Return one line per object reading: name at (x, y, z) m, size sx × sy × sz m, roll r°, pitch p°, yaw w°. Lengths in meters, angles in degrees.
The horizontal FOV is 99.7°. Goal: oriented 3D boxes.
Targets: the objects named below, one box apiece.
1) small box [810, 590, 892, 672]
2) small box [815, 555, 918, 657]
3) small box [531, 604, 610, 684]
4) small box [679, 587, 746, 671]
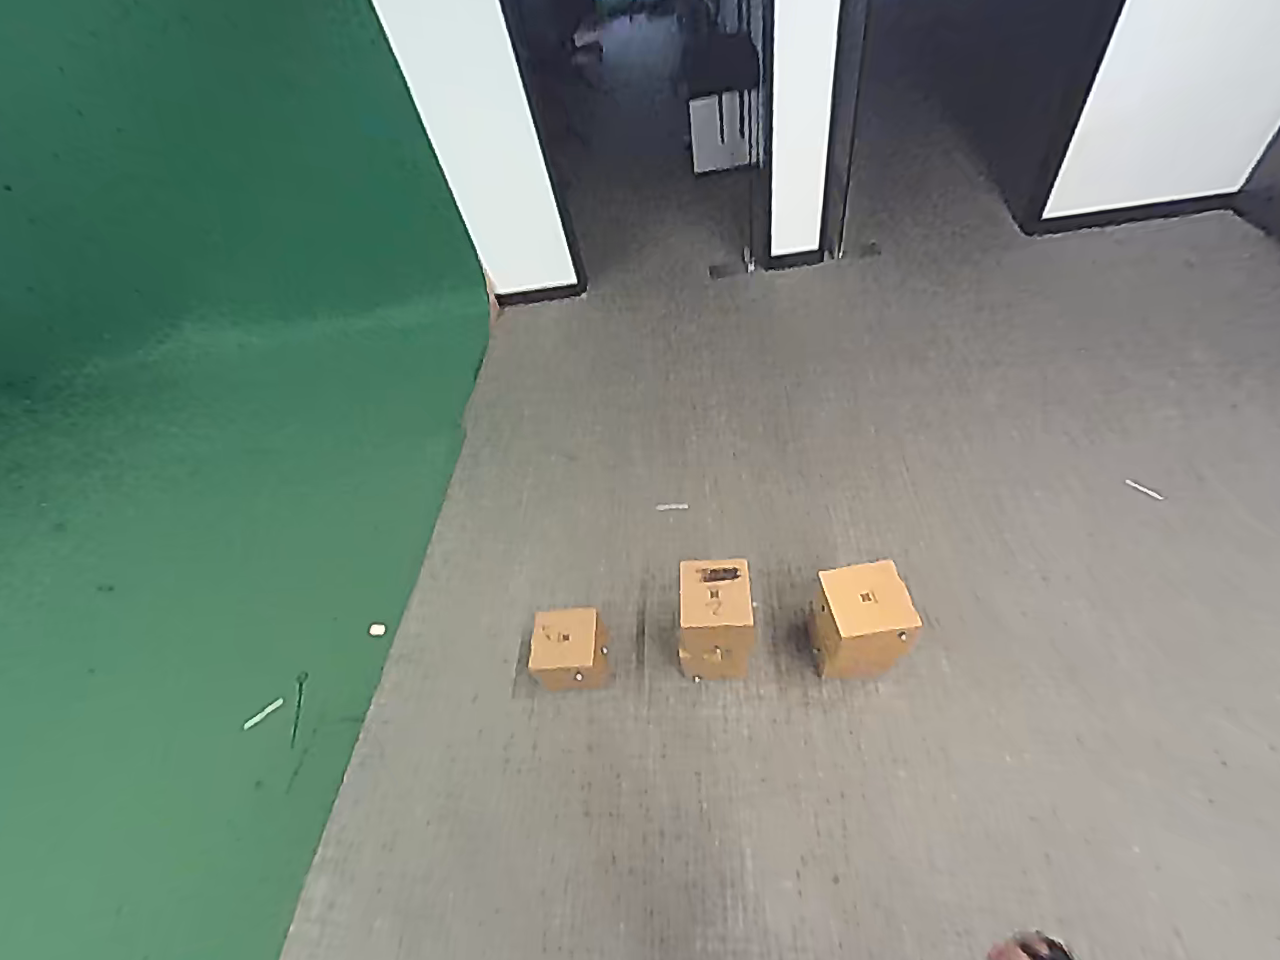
small box at (0.545, 0.389, 1.407) m, size 0.179 × 0.176 × 0.168 m, roll -7°, pitch 51°, yaw 7°
small box at (0.520, 0.300, 1.273) m, size 0.179 × 0.176 × 0.168 m, roll -11°, pitch 50°, yaw 4°
small box at (-0.186, 0.461, 1.514) m, size 0.179 × 0.176 × 0.168 m, roll -6°, pitch 50°, yaw 8°
small box at (0.197, 0.410, 1.469) m, size 0.168 × 0.176 × 0.179 m, roll -5°, pitch 50°, yaw 8°
